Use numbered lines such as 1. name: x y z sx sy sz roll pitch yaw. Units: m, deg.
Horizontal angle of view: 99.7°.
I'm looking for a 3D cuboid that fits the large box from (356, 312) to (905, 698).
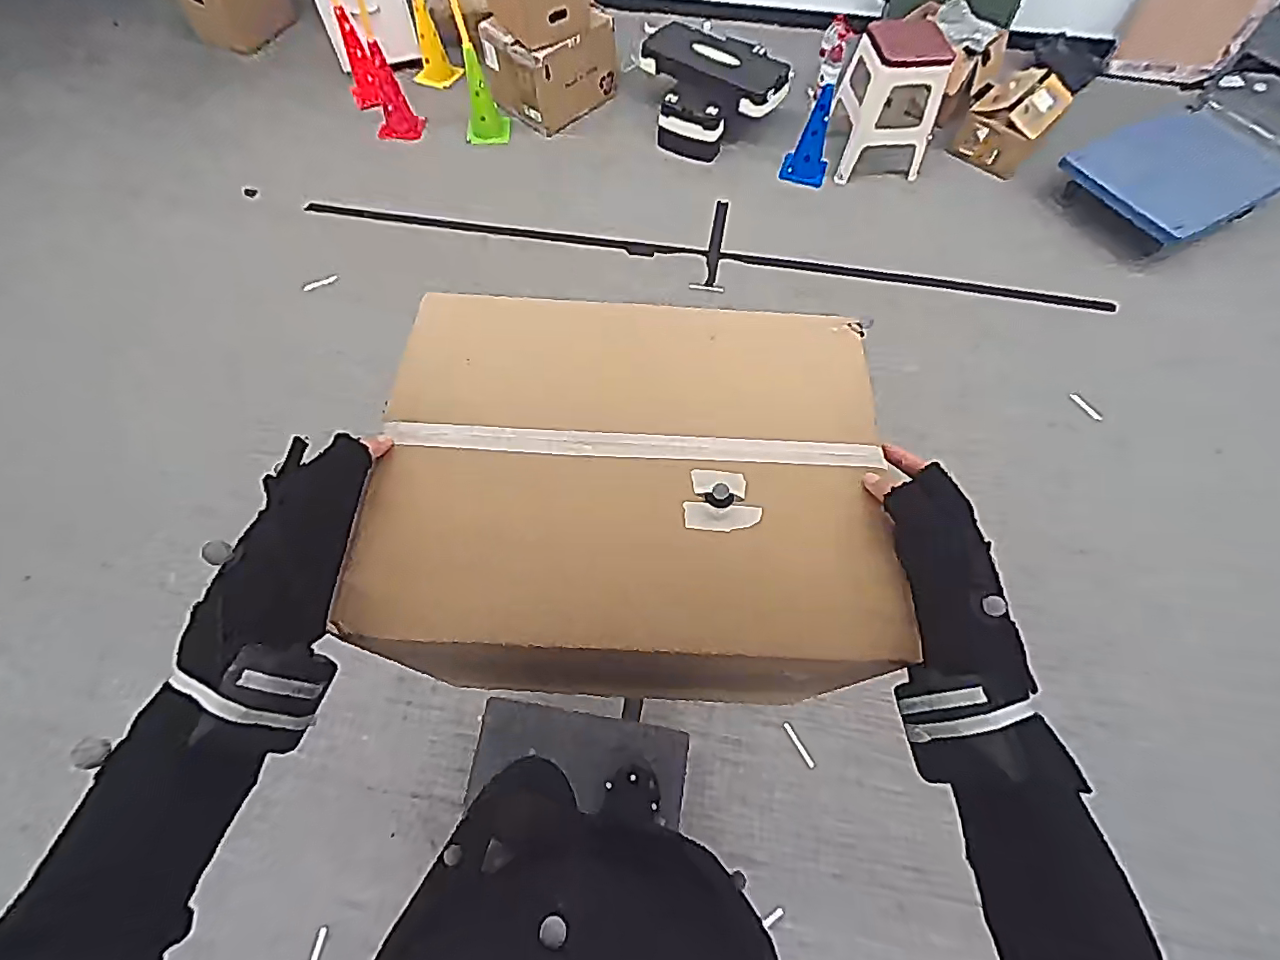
1. large box: -0.008 0.050 0.585 0.408 0.320 0.320 3 63 -1
